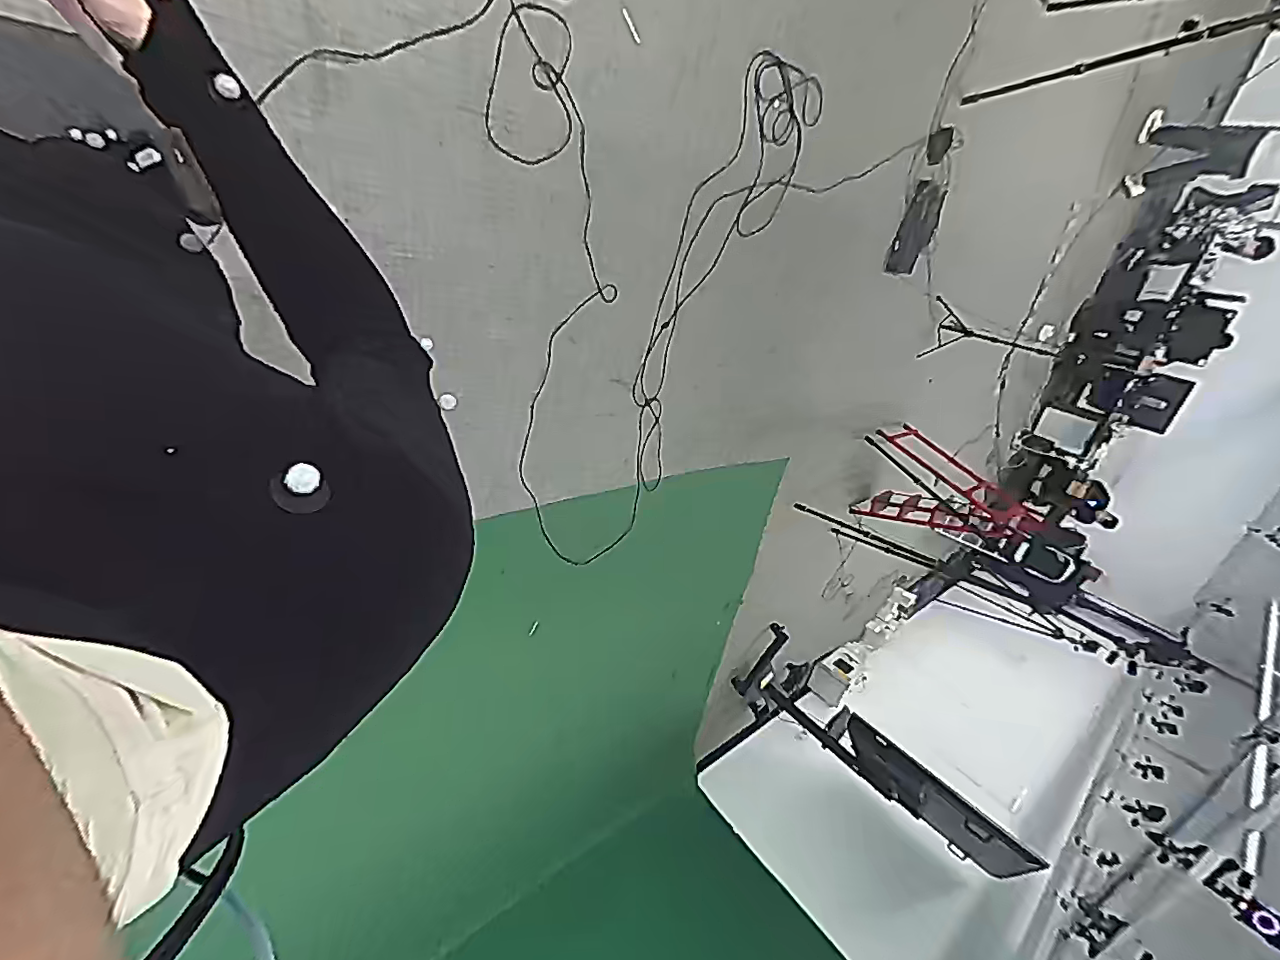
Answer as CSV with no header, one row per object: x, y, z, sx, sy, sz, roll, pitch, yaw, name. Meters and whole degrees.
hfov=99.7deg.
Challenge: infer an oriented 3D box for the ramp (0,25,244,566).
-1.188,-0.325,1.083,0.509,0.206,0.991,-14,124,-37,ramp
